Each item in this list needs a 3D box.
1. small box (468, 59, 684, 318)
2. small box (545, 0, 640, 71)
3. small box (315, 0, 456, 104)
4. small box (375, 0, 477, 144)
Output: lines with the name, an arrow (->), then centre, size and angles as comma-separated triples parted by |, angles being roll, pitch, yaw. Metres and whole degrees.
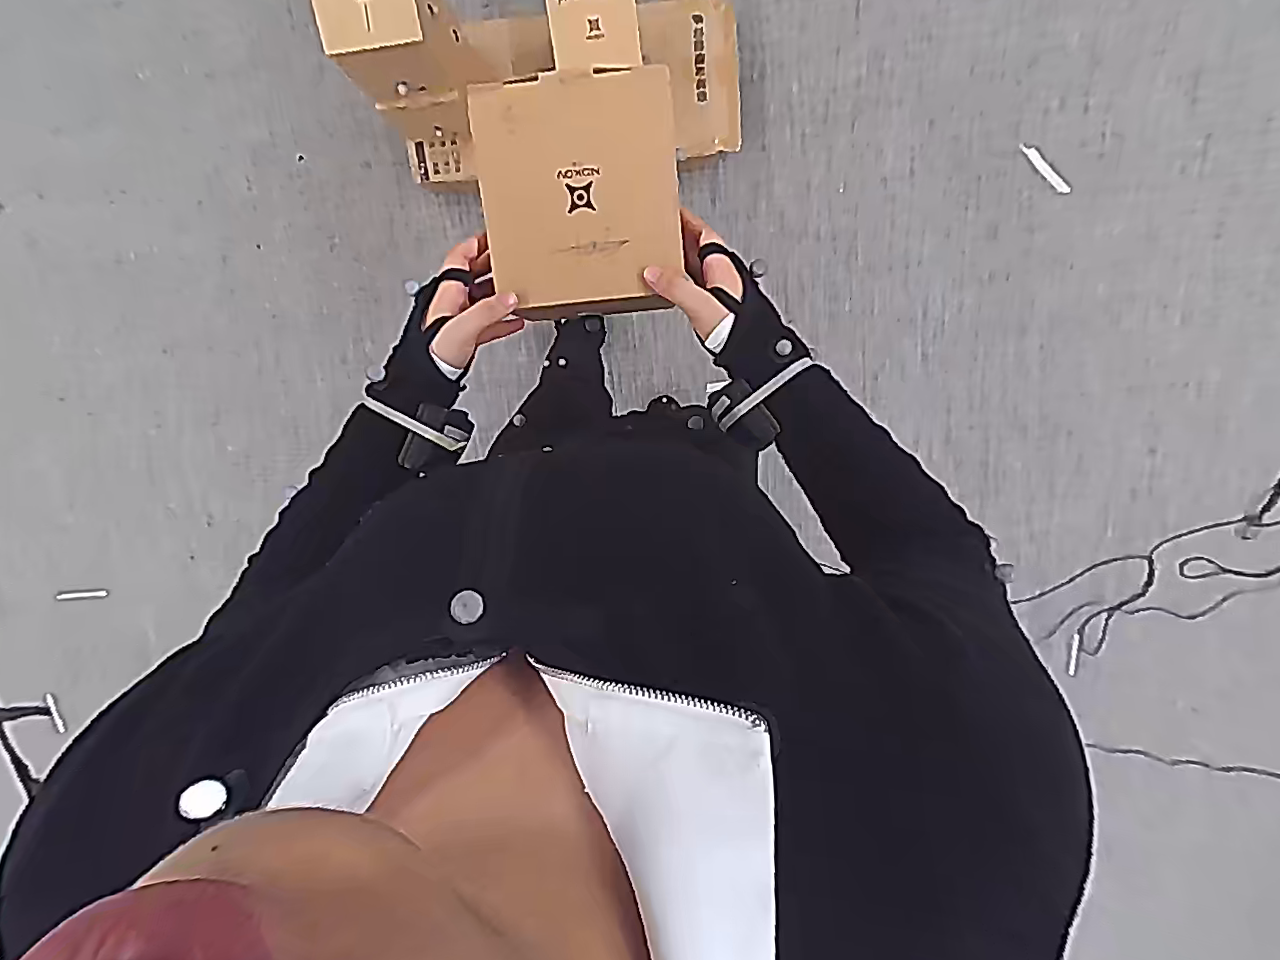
small box -> -0.050, -0.261, 0.527 | 0.168, 0.176, 0.179 | -6, 103, 2
small box -> -0.083, -0.847, 1.087 | 0.168, 0.176, 0.179 | -6, 104, 4
small box -> -0.435, -0.791, 0.932 | 0.168, 0.176, 0.179 | -7, 104, 2
small box -> -0.431, -0.814, 1.095 | 0.168, 0.176, 0.179 | -5, 103, 2
